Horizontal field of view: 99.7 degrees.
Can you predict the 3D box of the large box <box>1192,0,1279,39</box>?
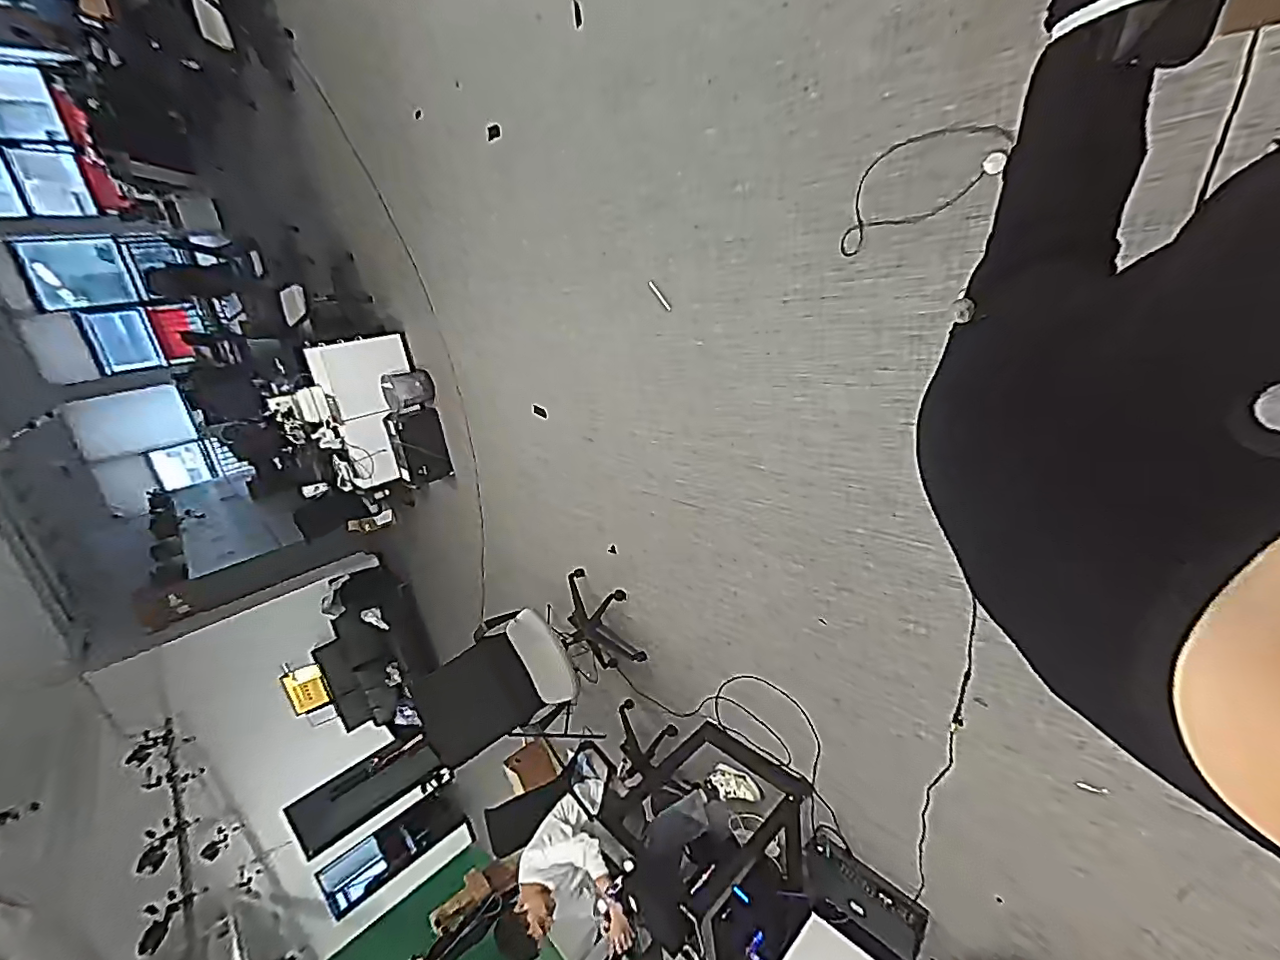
[{"bbox_3d":[0.554,-0.463,0.231,0.408,0.320,0.320,17,125,44],"label":"large box"}]
